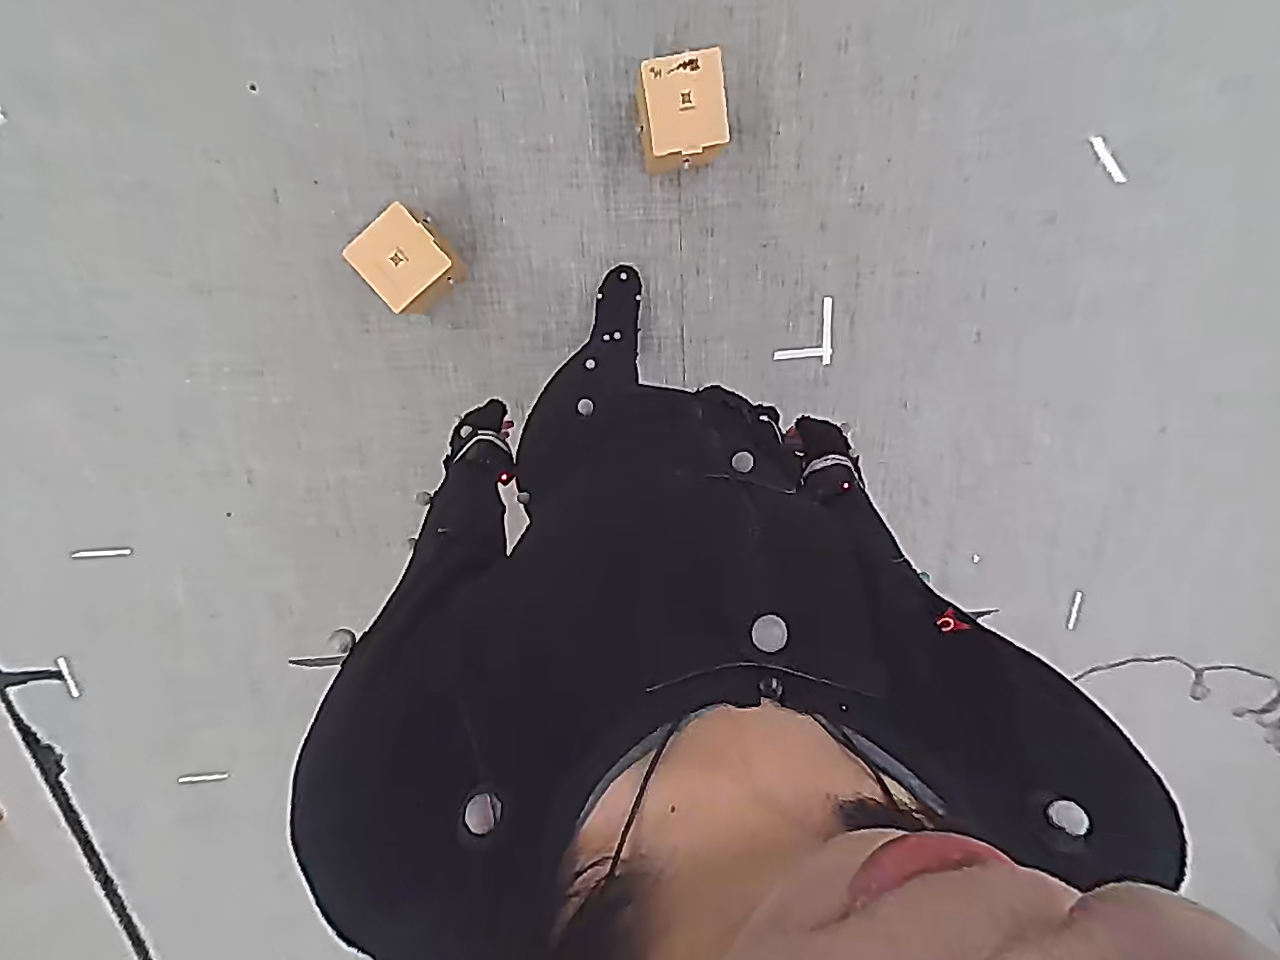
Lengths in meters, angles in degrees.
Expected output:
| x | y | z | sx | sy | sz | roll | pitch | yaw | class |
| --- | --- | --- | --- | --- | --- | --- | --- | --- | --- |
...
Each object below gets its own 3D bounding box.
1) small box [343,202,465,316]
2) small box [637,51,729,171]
| x | y | z | sx | sy | sz | roll | pitch | yaw | class |
| --- | --- | --- | --- | --- | --- | --- | --- | --- | --- |
| -0.526 | -0.499 | 1.242 | 0.179 | 0.176 | 0.168 | -38 | 105 | 9 | small box |
| 0.090 | -0.796 | 1.188 | 0.168 | 0.176 | 0.179 | -11 | 109 | -1 | small box |
